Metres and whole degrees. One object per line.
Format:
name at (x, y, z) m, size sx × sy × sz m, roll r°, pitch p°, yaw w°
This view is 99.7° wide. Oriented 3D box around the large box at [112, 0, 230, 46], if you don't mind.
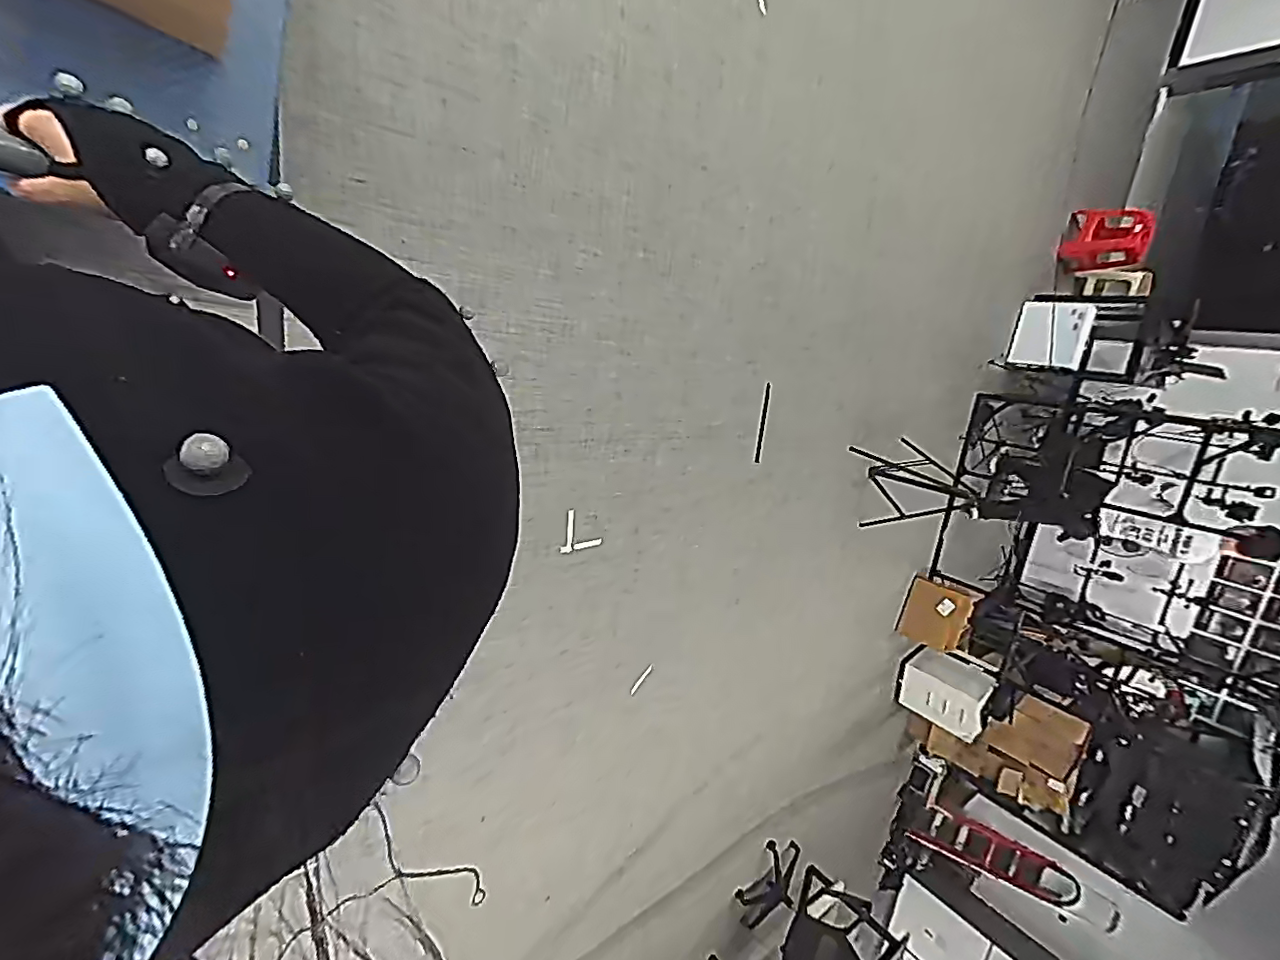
large box at (-0.751, -0.856, 0.670) m, size 0.408 × 0.320 × 0.320 m, roll 6°, pitch 101°, yaw -41°
